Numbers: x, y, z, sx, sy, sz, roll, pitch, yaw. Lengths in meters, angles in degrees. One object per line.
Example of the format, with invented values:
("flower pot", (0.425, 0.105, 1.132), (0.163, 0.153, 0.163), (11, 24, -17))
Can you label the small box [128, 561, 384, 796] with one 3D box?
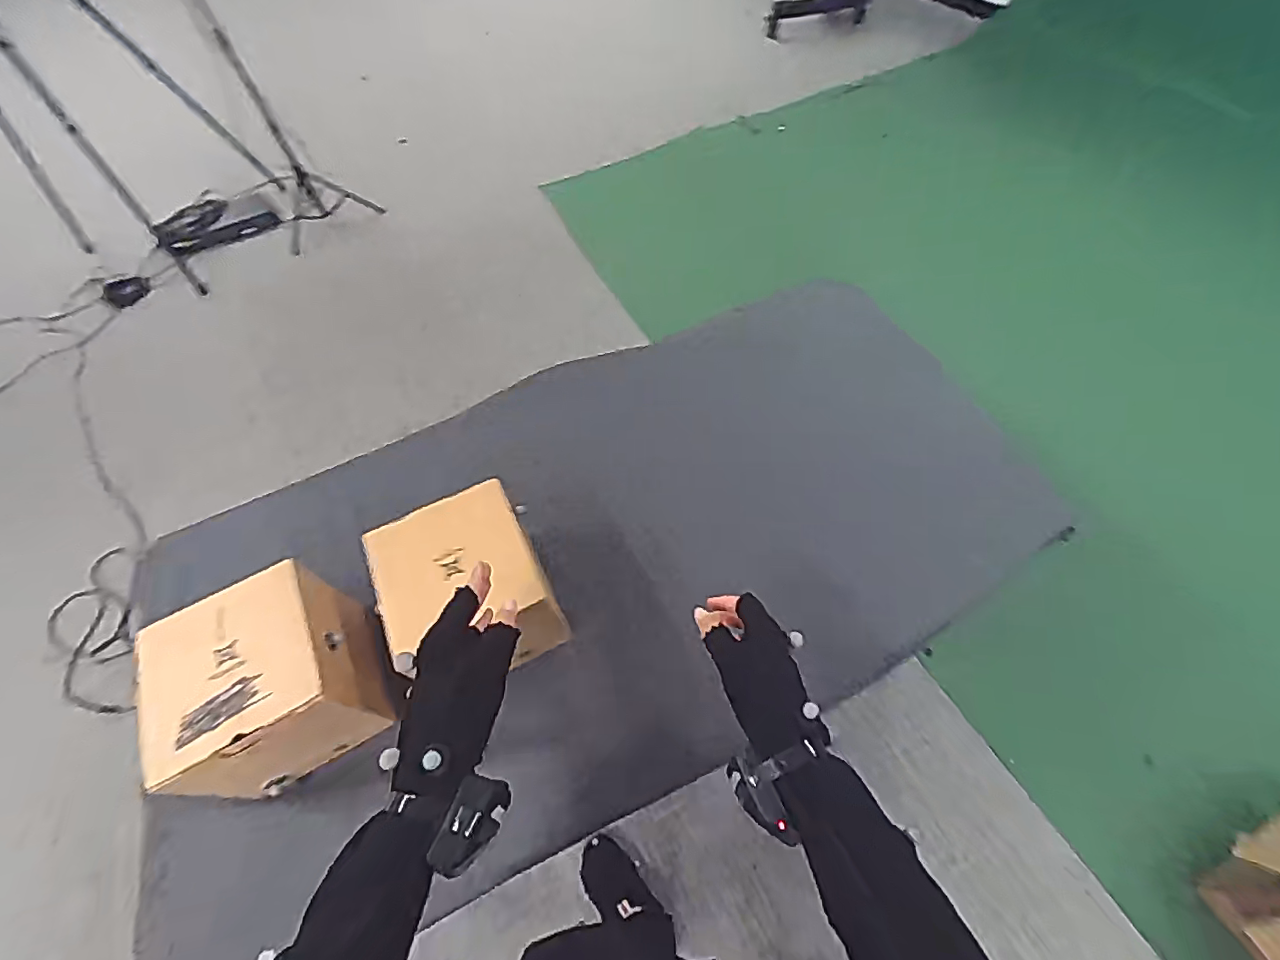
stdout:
("small box", (-0.421, 0.229, 0.614), (0.168, 0.176, 0.179), (-28, 59, -14))
